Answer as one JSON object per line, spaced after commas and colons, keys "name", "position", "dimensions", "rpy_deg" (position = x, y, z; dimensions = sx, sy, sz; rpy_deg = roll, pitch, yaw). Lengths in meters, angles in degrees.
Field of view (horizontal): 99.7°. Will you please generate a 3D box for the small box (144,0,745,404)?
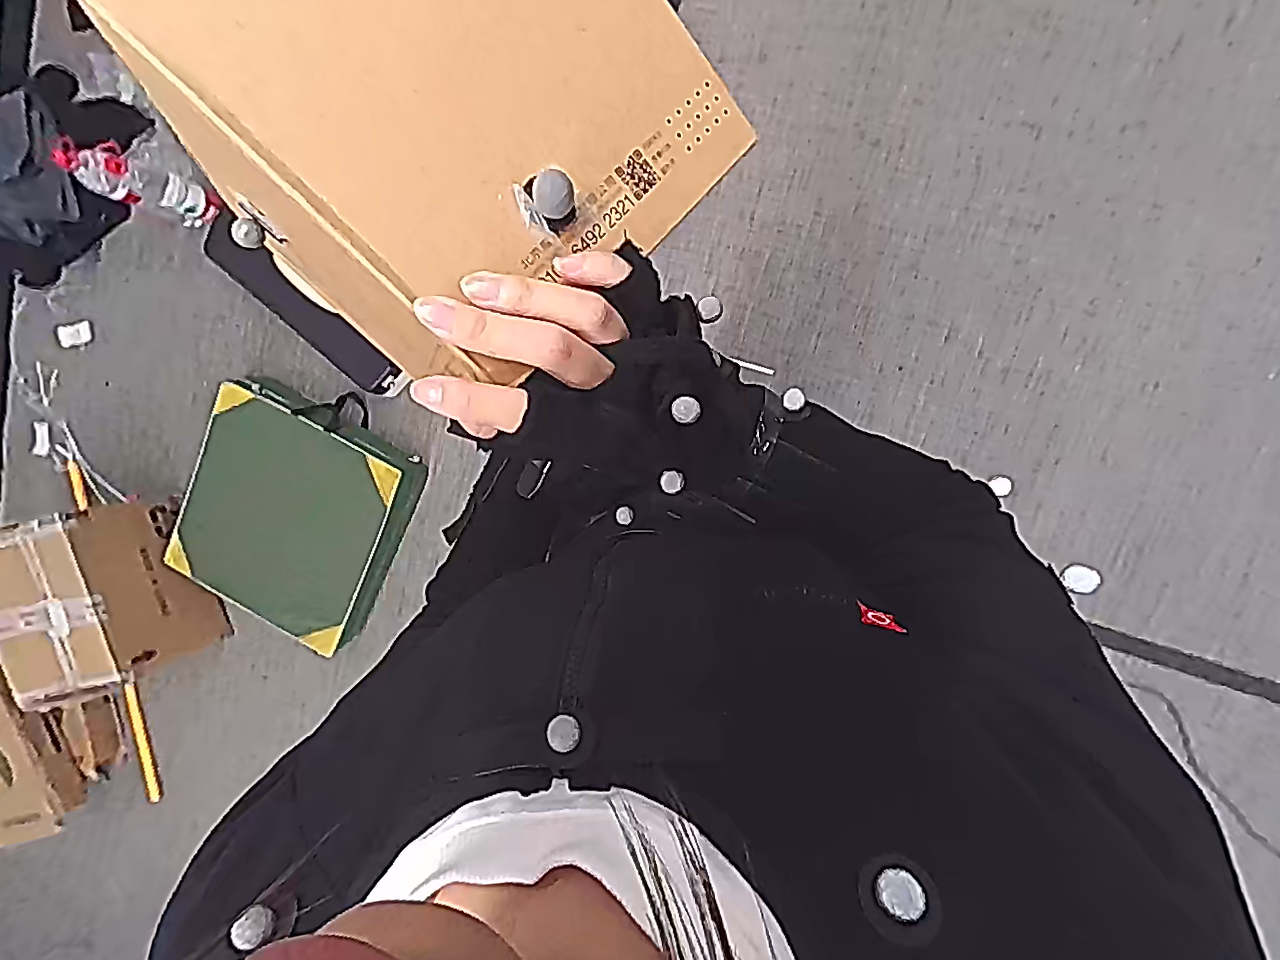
{"name": "small box", "position": [-0.082, -0.155, 0.288], "dimensions": [0.176, 0.179, 0.168], "rpy_deg": [45, 77, -20]}
